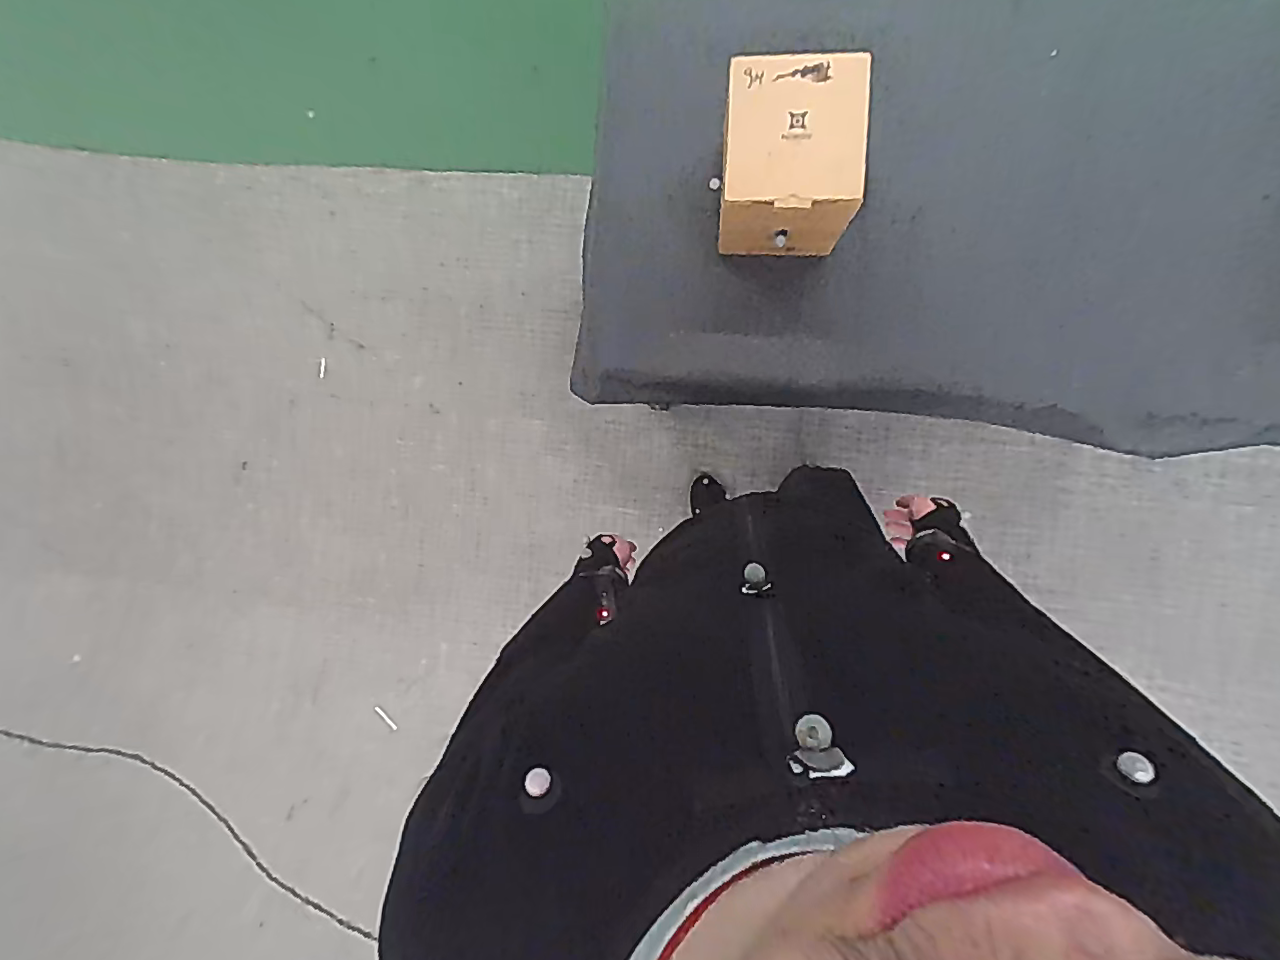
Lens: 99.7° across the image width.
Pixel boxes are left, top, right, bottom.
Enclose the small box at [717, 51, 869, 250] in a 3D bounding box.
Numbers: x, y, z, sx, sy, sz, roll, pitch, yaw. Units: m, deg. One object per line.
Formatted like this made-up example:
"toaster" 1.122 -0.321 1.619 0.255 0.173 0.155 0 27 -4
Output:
"small box" 0.191 -0.423 0.723 0.168 0.176 0.179 3 92 5
